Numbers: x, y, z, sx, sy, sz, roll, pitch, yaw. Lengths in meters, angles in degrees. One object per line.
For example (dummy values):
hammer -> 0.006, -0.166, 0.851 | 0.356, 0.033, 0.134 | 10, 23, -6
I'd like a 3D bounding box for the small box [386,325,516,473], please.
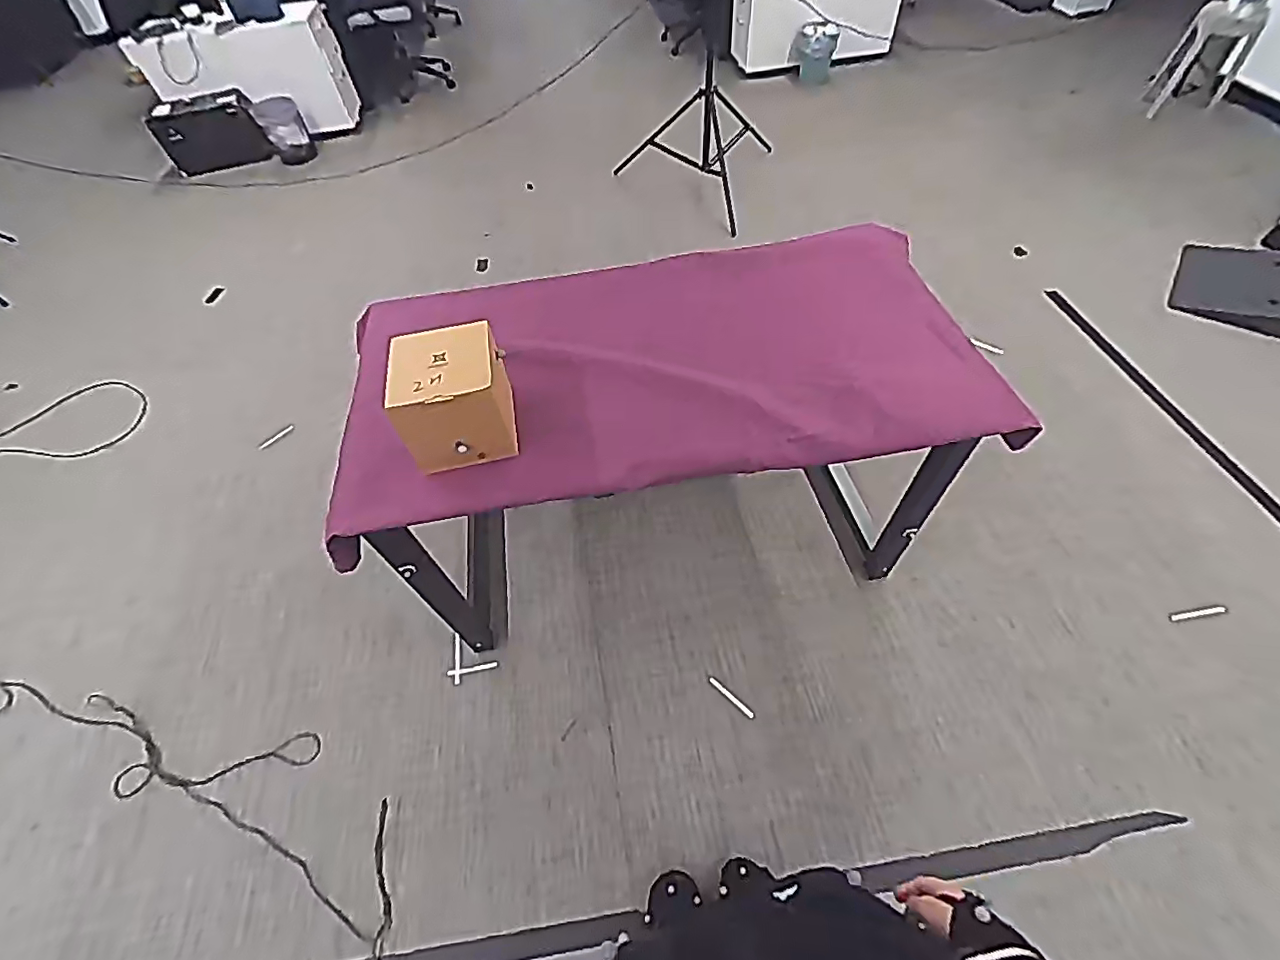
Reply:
small box -> -0.320, -0.139, 0.943 | 0.168, 0.176, 0.179 | -12, 54, -4
